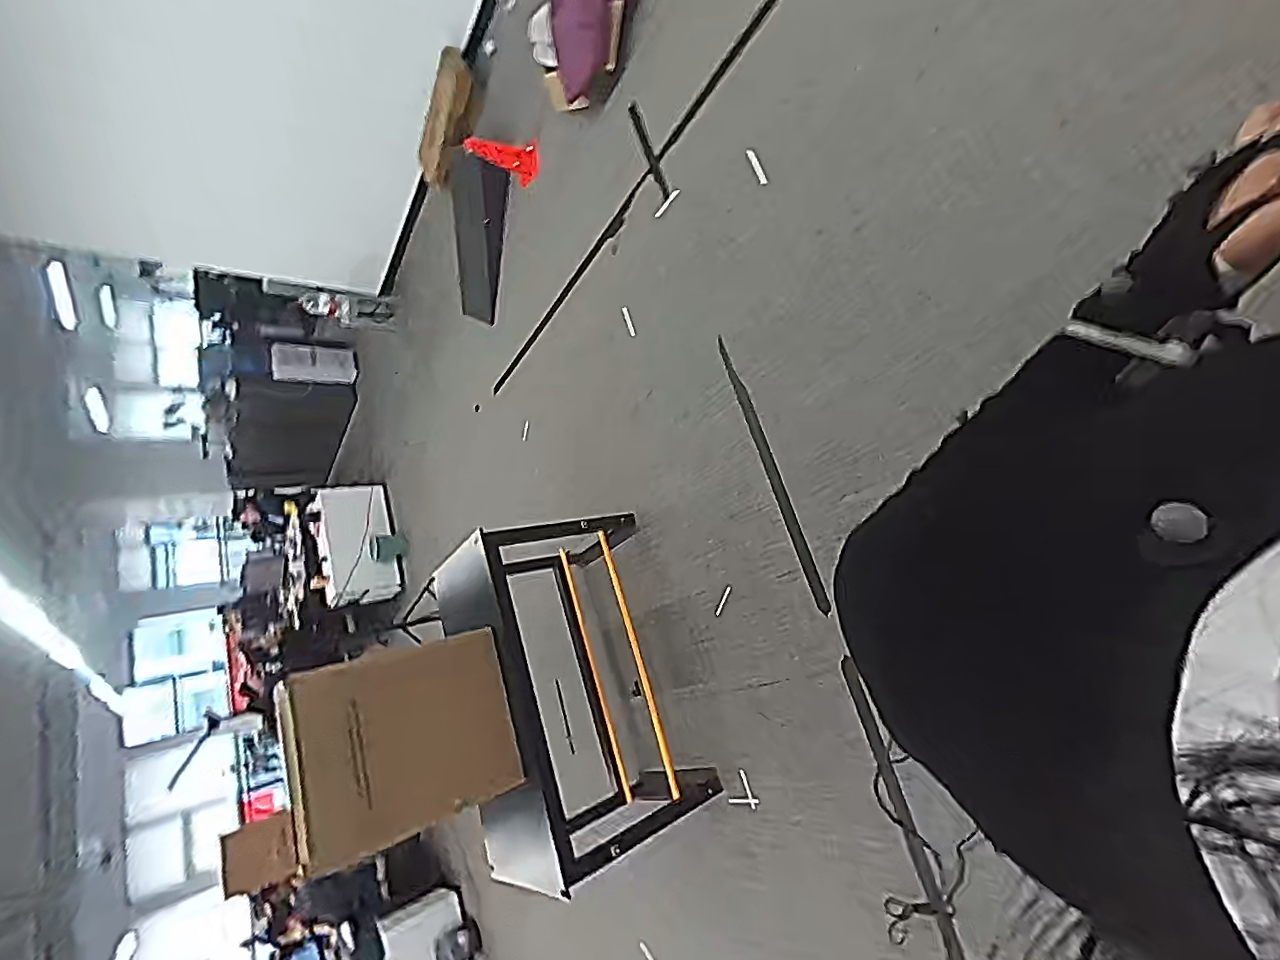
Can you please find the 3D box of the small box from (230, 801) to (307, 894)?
[{"bbox_3d":[-1.059,1.041,1.544,0.179,0.176,0.168,-41,63,45],"label":"small box"}]
